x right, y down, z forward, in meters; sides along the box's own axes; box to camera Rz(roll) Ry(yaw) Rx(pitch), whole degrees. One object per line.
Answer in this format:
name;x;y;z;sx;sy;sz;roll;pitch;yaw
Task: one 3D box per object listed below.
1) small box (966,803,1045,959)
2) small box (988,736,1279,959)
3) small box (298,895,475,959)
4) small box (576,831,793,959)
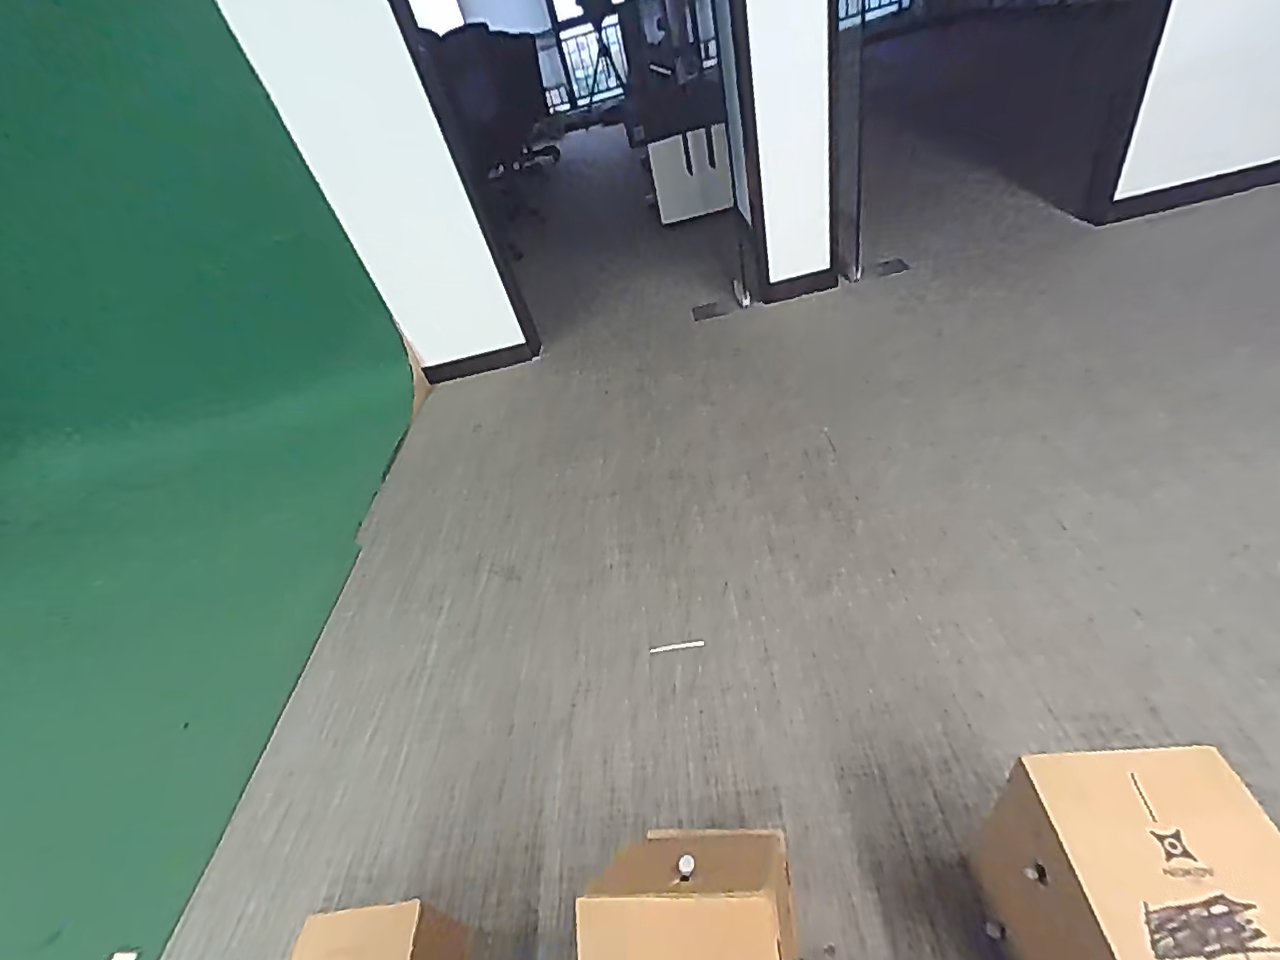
small box;0.497;0.483;0.609;0.168;0.176;0.179;-9;41;10
small box;0.456;0.365;0.500;0.168;0.176;0.179;-9;39;11
small box;-0.334;0.673;0.701;0.168;0.176;0.179;-12;39;6
small box;0.052;0.453;0.514;0.179;0.176;0.168;-10;71;12
